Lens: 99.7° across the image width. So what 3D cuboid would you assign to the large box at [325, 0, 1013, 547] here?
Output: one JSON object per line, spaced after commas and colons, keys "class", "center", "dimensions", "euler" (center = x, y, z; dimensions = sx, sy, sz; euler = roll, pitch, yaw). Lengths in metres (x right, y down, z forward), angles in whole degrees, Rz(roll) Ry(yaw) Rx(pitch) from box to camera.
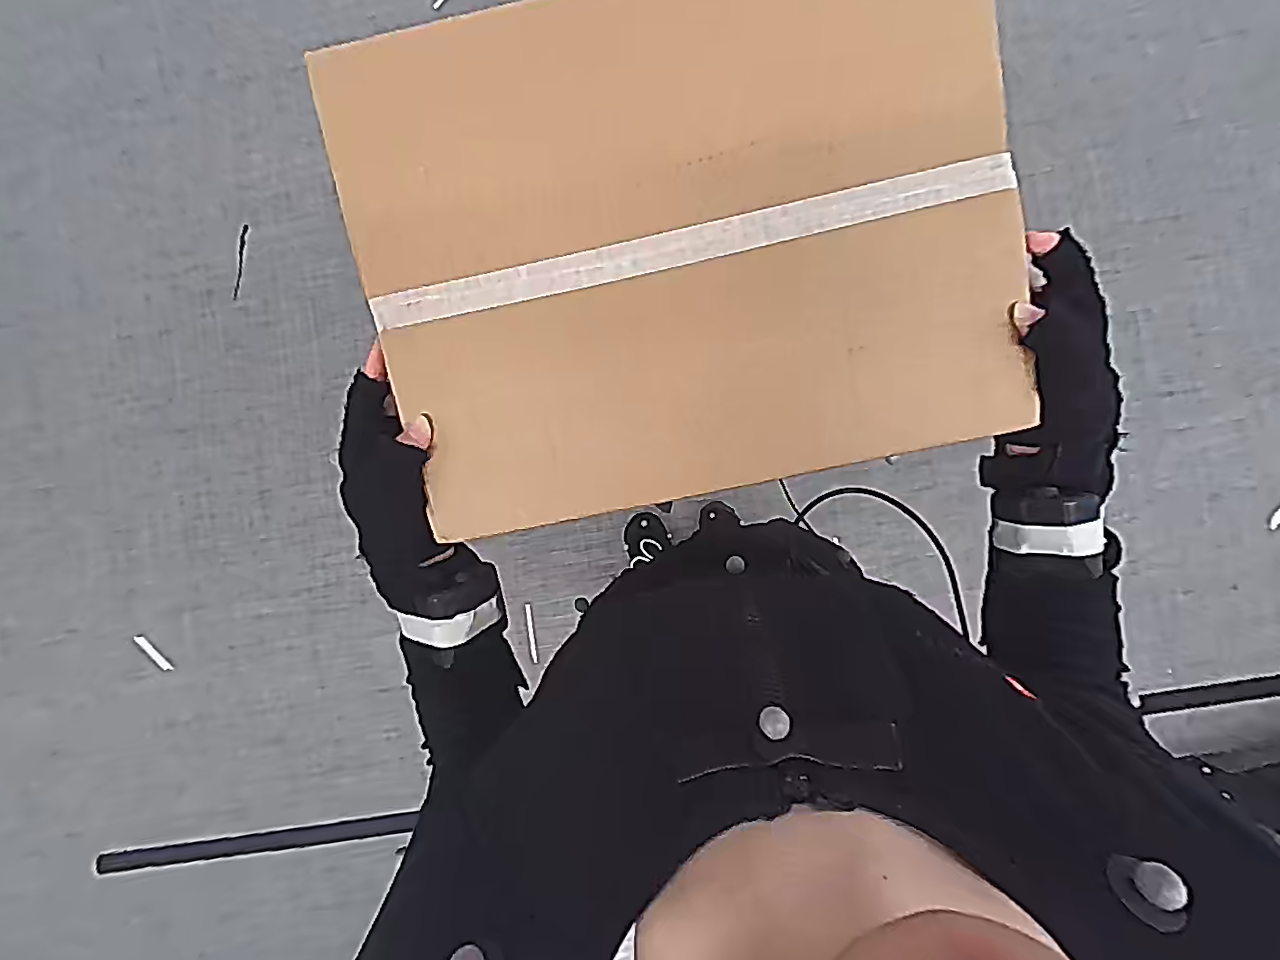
{"class": "large box", "center": [0.030, -0.164, 0.497], "dimensions": [0.408, 0.320, 0.320], "euler": [-12, 97, 3]}
